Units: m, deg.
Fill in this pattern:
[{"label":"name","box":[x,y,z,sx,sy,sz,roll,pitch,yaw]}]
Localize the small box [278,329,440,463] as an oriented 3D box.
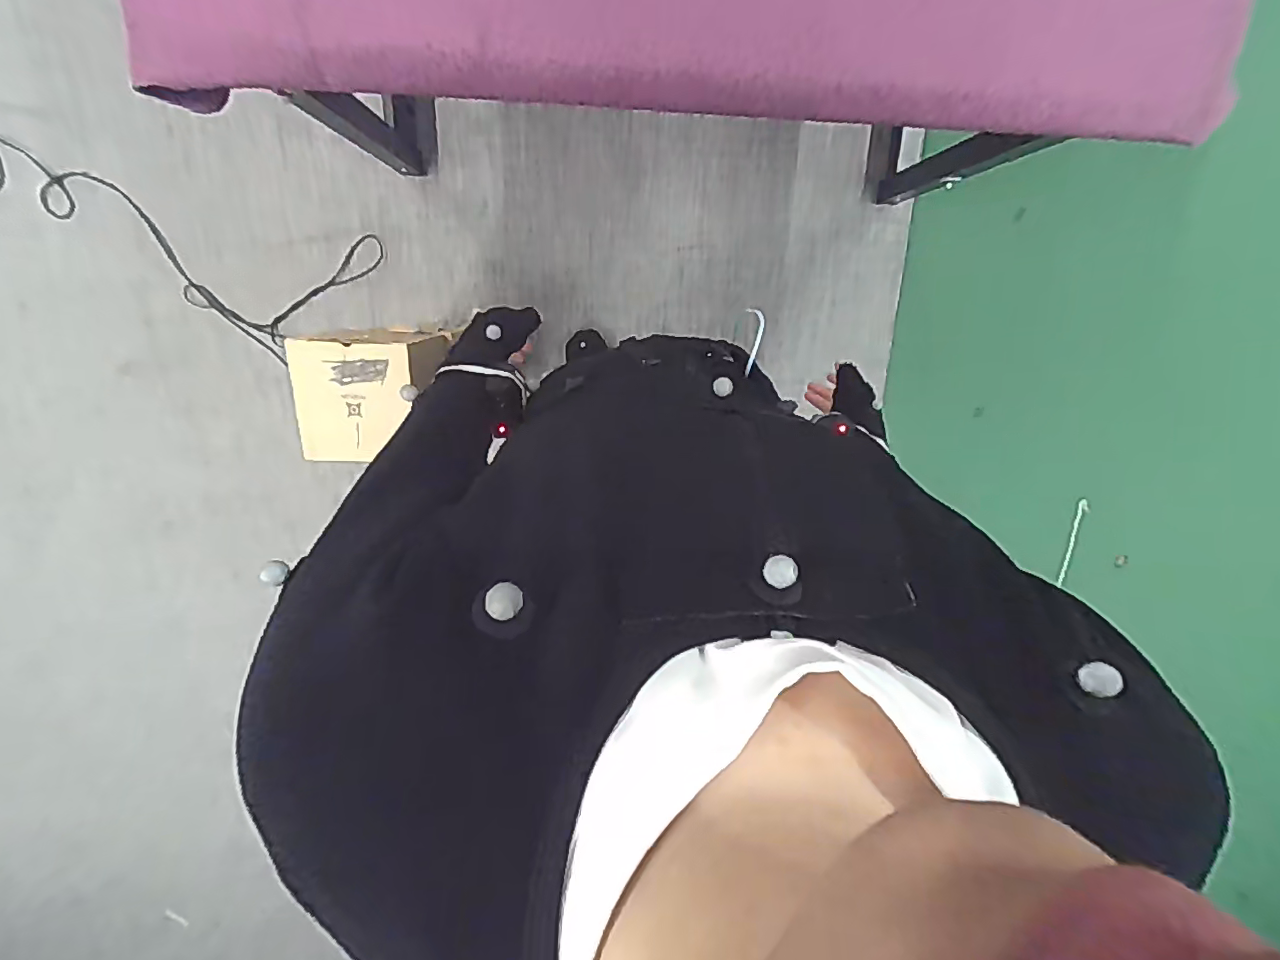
[{"label":"small box","box":[-0.418,-0.136,0.835,0.168,0.176,0.179,3,110,-4]}]
